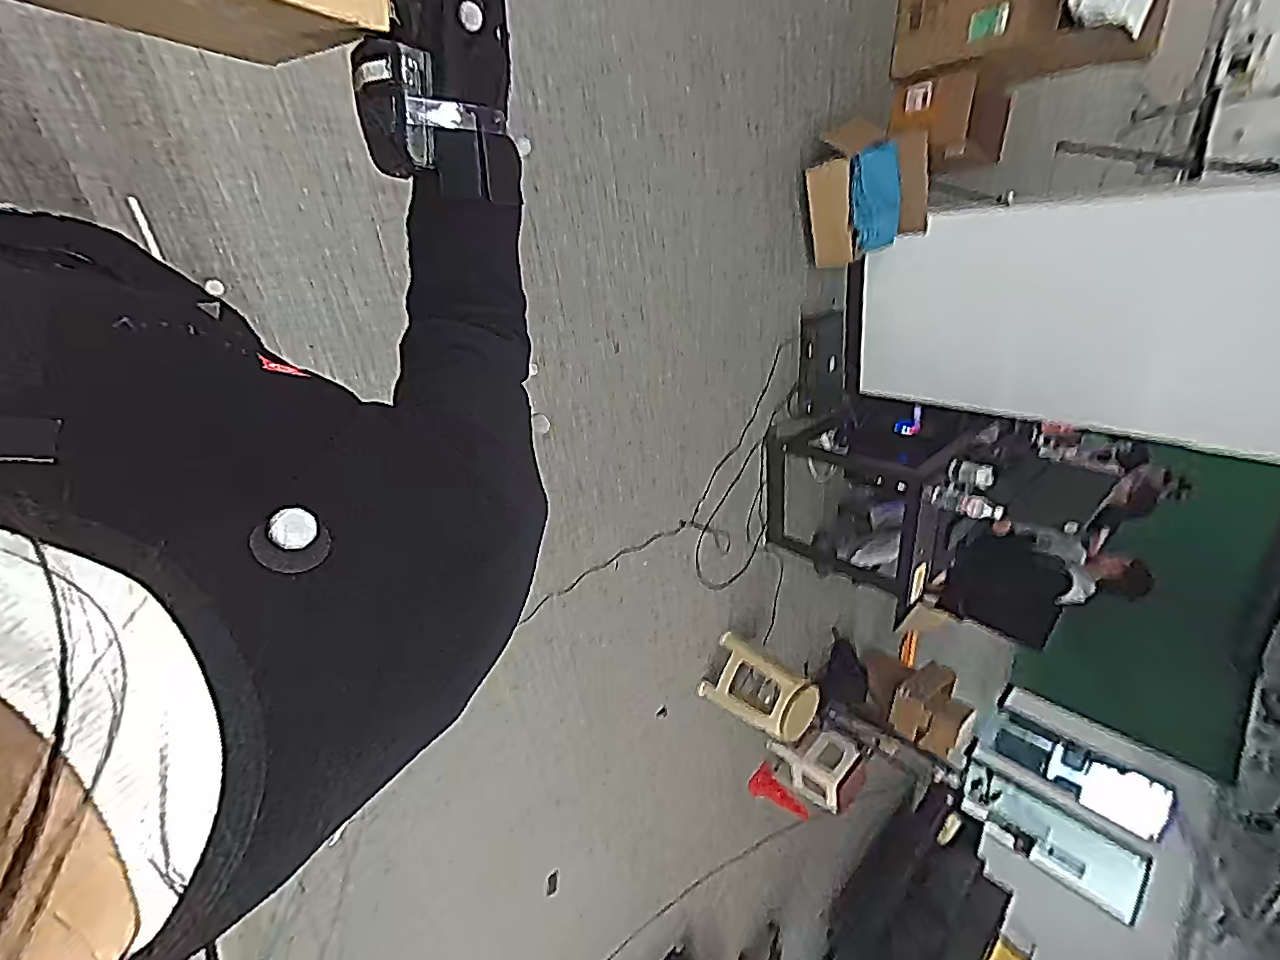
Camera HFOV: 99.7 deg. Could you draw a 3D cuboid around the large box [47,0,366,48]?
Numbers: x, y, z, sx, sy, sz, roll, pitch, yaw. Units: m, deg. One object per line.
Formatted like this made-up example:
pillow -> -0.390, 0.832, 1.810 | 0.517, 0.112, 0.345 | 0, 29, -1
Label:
large box -> -0.379, -0.419, 0.207 | 0.408, 0.320, 0.320 | -16, 127, -39
